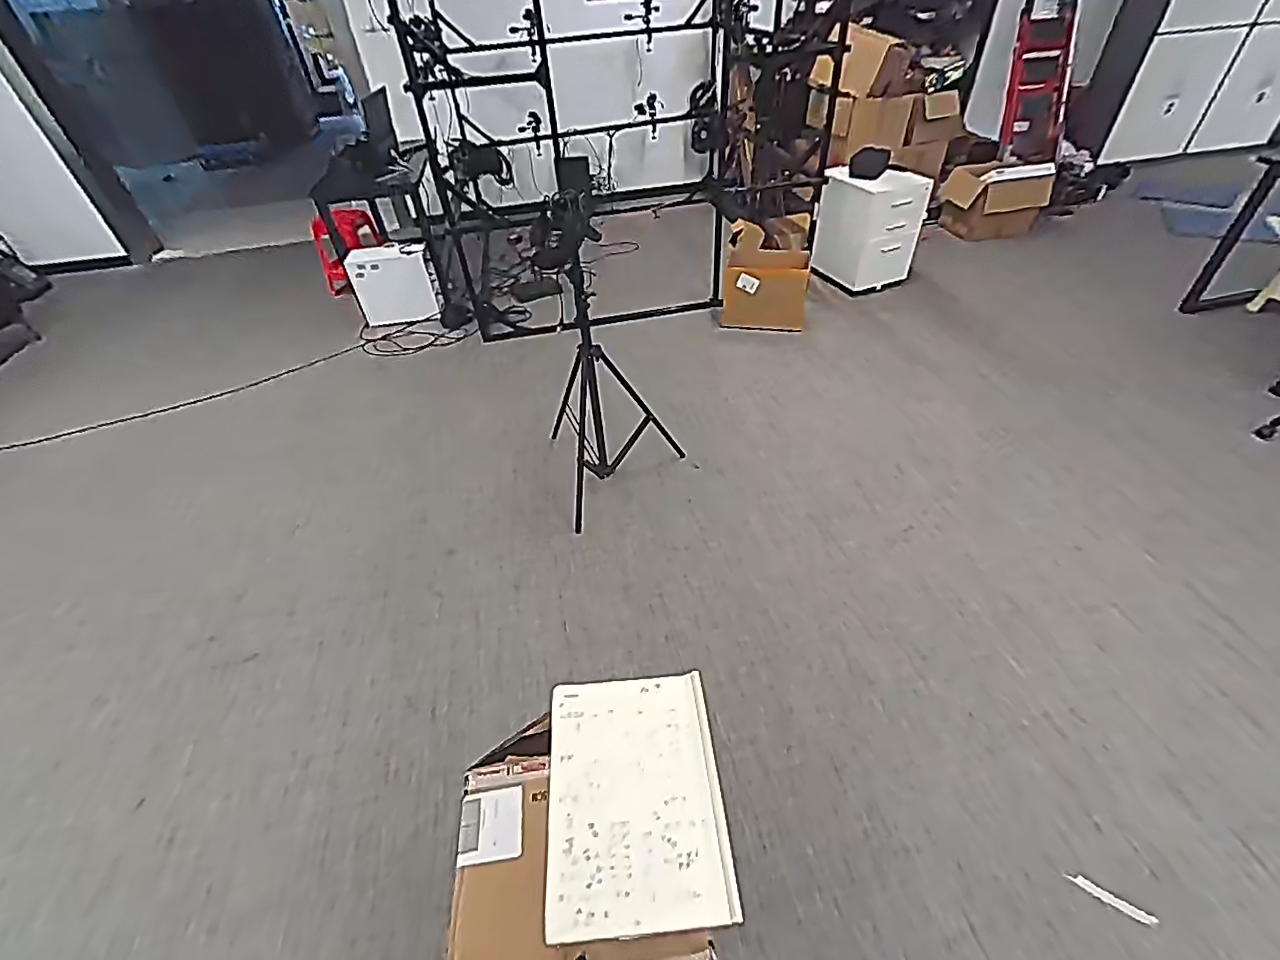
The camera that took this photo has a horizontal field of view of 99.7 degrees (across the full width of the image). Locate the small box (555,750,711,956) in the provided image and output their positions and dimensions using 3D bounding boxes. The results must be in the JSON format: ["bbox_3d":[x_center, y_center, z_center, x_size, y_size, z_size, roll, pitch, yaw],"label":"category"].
[{"bbox_3d":[-0.013,0.464,0.675,0.168,0.176,0.179,-4,44,-3],"label":"small box"}]

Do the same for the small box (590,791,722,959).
[{"bbox_3d":[0.009,0.580,0.791,0.179,0.176,0.168,-7,43,-6],"label":"small box"}]
